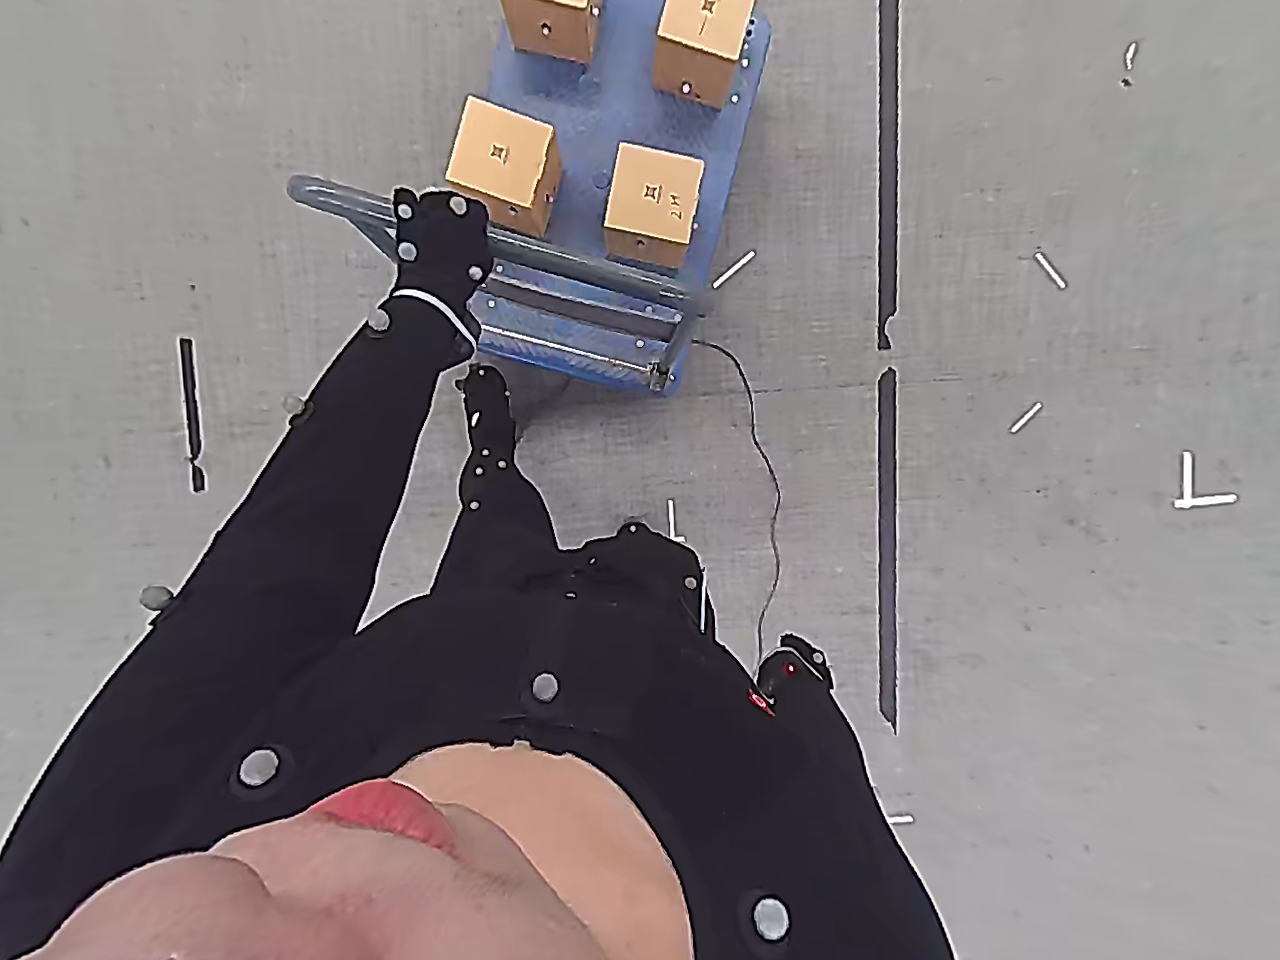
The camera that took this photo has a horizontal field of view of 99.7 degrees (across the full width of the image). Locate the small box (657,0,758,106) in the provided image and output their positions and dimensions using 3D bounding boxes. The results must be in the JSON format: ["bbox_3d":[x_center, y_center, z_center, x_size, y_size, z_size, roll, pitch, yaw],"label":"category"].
[{"bbox_3d":[0.137,-0.928,1.114,0.168,0.176,0.179,16,96,-3],"label":"small box"}]

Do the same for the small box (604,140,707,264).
[{"bbox_3d":[0.028,-0.576,1.145,0.179,0.176,0.168,12,95,-3],"label":"small box"}]

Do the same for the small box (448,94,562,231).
[{"bbox_3d":[-0.273,-0.648,1.129,0.179,0.176,0.168,18,94,-5],"label":"small box"}]
